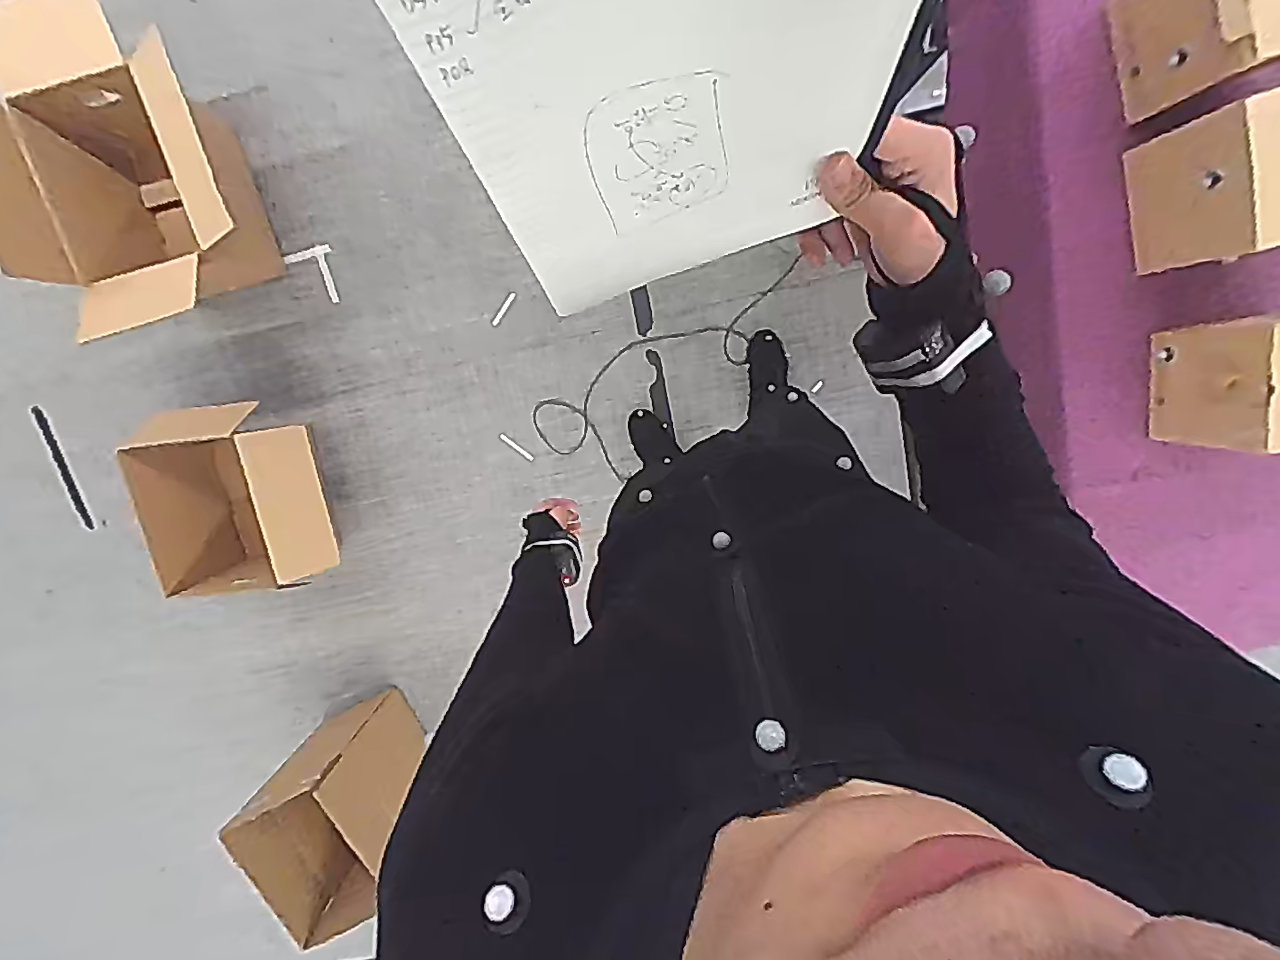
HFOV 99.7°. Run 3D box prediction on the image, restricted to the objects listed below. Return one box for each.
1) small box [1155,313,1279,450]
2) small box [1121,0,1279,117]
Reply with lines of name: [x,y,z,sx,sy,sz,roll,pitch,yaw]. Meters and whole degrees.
small box: [0.872,-0.143,0.748,0.179,0.176,0.168,-9,101,2]
small box: [0.740,-0.589,0.661,0.179,0.176,0.168,-20,101,5]
